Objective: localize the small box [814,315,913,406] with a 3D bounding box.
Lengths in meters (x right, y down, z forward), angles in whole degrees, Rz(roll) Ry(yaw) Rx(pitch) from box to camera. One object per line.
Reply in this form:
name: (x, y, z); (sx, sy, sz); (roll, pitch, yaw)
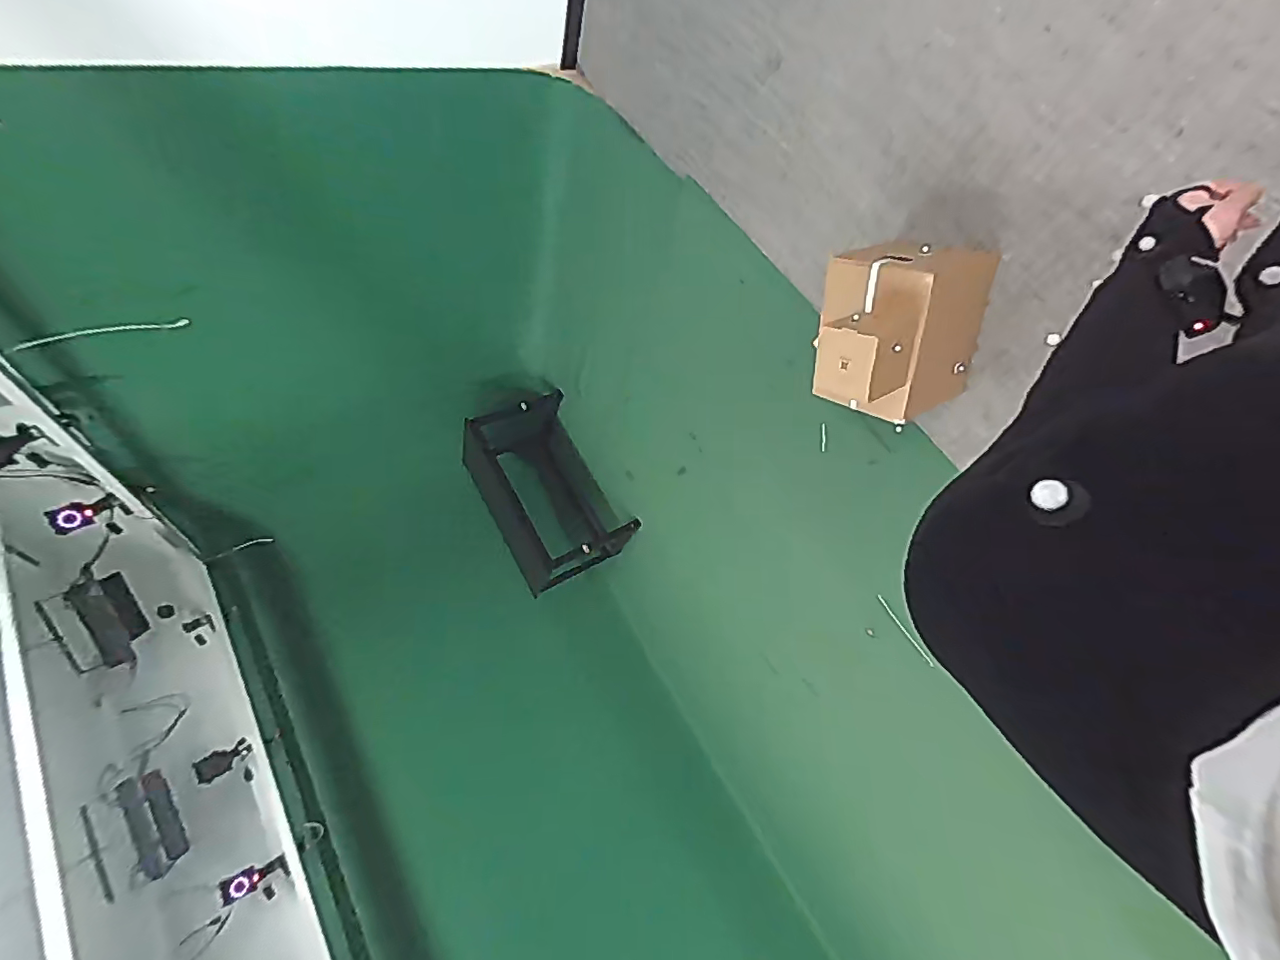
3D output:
small box: (0.582, -0.319, 1.409); (0.168, 0.176, 0.179); (34, 138, 45)
